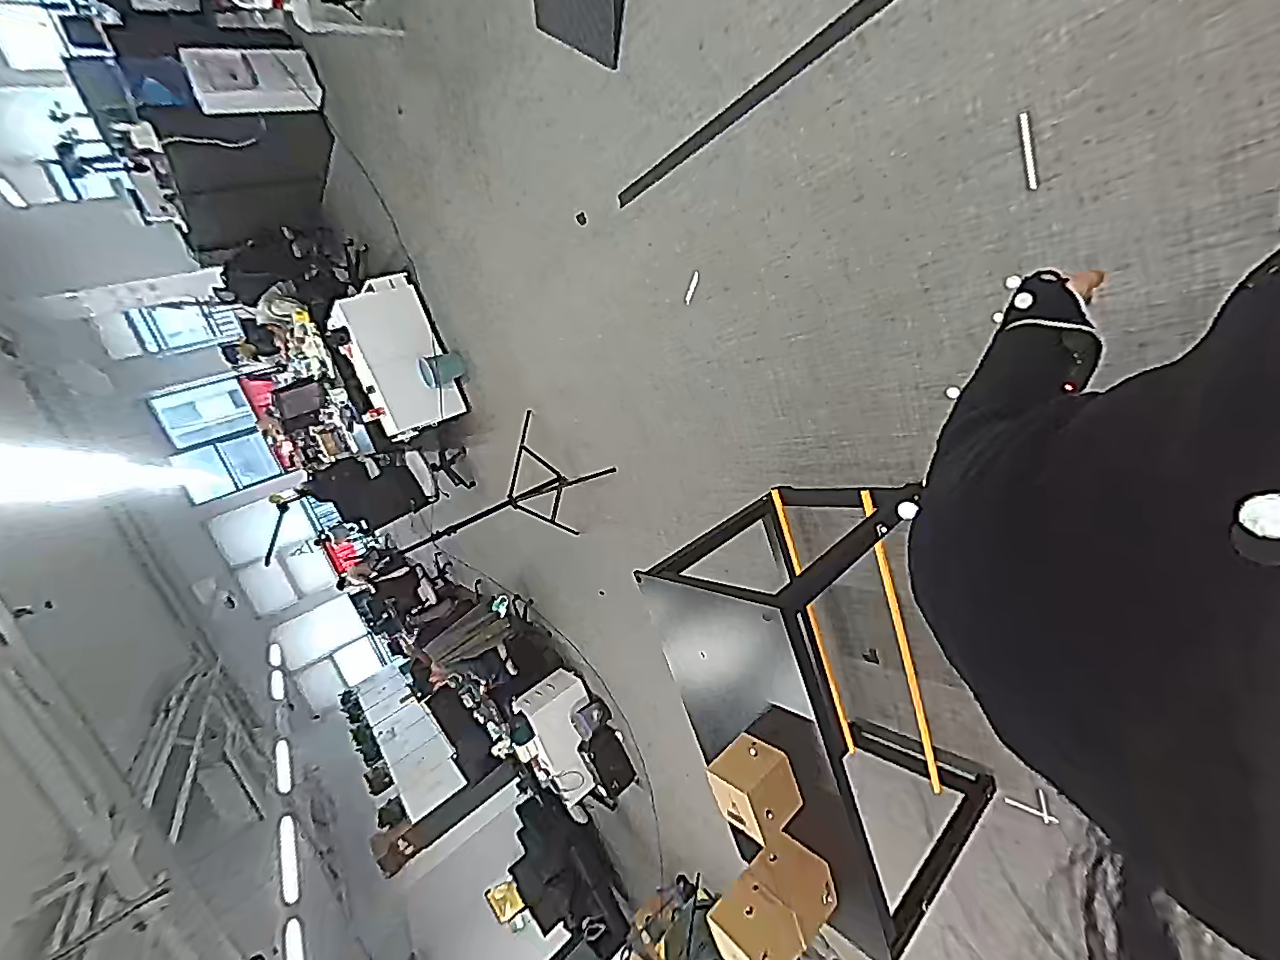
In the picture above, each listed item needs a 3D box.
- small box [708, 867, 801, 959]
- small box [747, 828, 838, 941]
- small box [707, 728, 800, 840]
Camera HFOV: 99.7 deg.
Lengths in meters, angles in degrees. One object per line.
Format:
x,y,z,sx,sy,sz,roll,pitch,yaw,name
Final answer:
0.323,1.247,1.514,0.168,0.176,0.179,6,119,55,small box
0.450,1.176,1.593,0.179,0.176,0.168,4,118,53,small box
0.322,0.843,1.516,0.168,0.176,0.179,-2,112,56,small box
